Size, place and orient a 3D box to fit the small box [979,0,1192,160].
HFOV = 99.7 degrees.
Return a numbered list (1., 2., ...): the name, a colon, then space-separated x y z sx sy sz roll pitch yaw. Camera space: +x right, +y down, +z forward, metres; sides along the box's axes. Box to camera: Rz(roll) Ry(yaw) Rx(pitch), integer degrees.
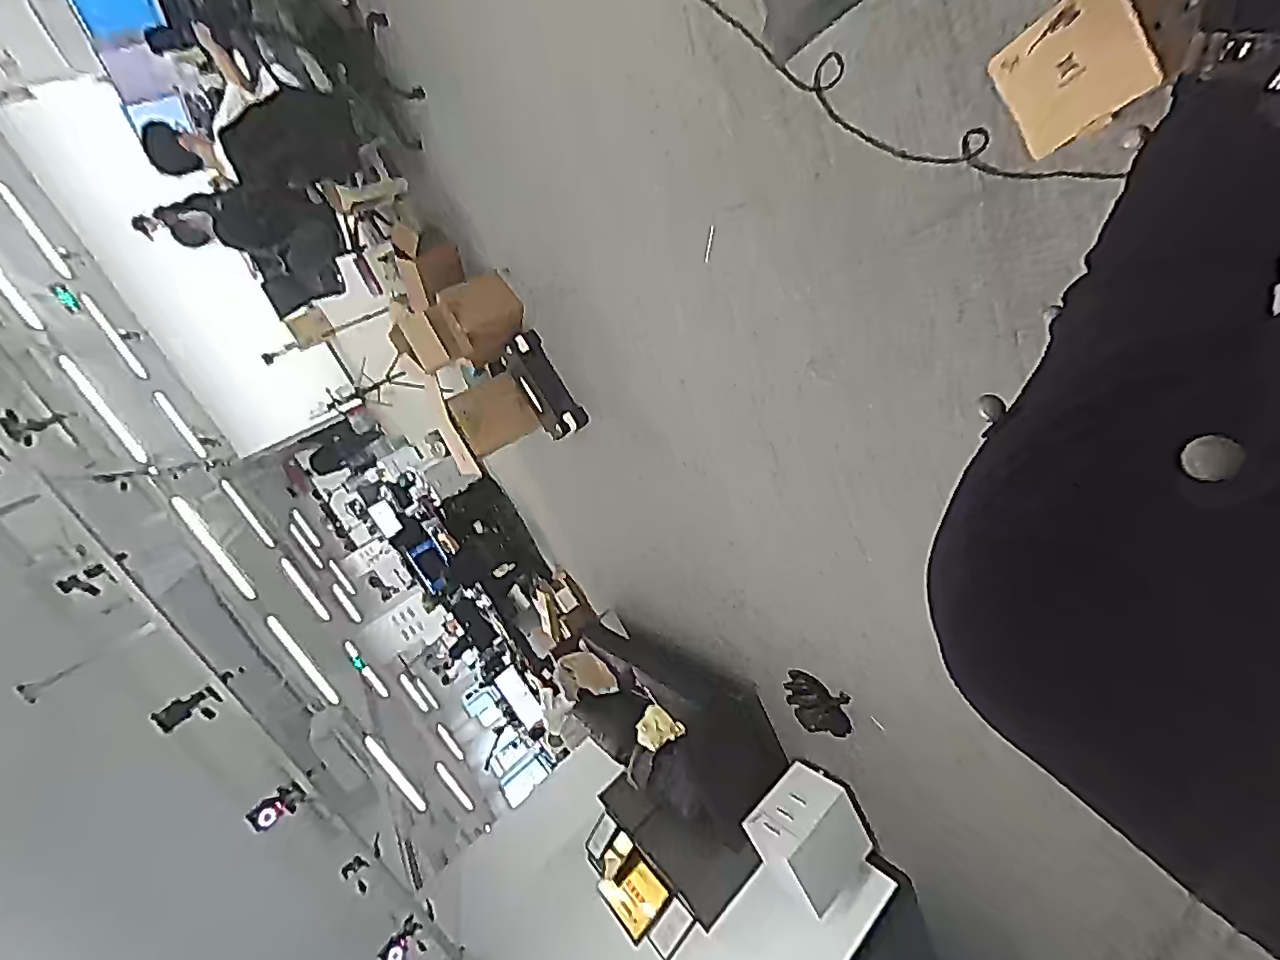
1. small box: 0.673 -0.638 0.819 0.179 0.176 0.168 57 156 -4
